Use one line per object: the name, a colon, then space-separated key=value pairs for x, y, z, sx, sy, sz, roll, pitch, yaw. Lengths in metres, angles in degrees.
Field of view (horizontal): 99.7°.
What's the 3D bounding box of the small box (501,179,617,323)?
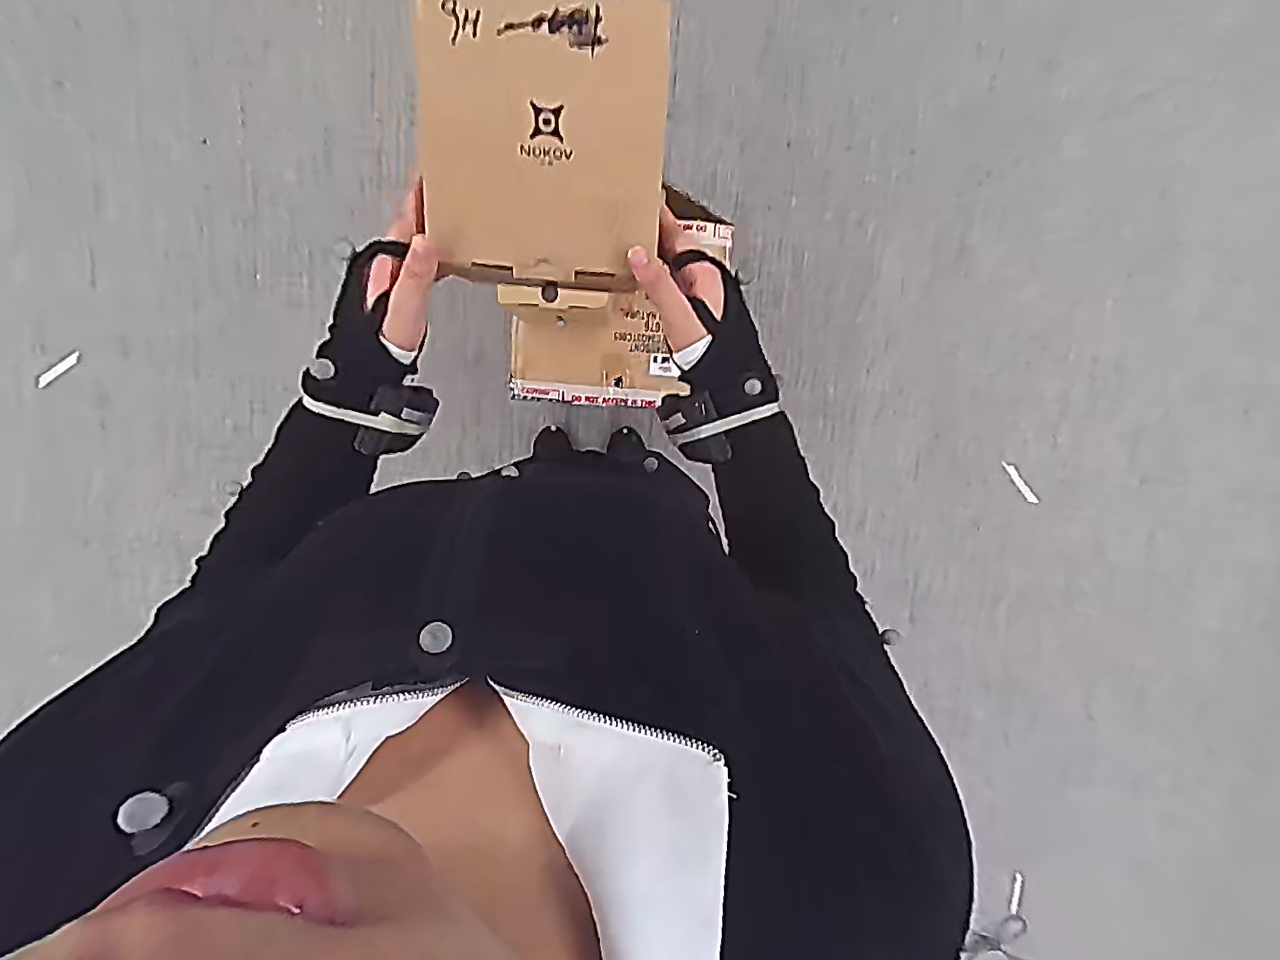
small box: x=-0.124 y=-0.359 z=0.875 sx=0.168 sy=0.176 sz=0.179 roll=2 pitch=99 yaw=-1
